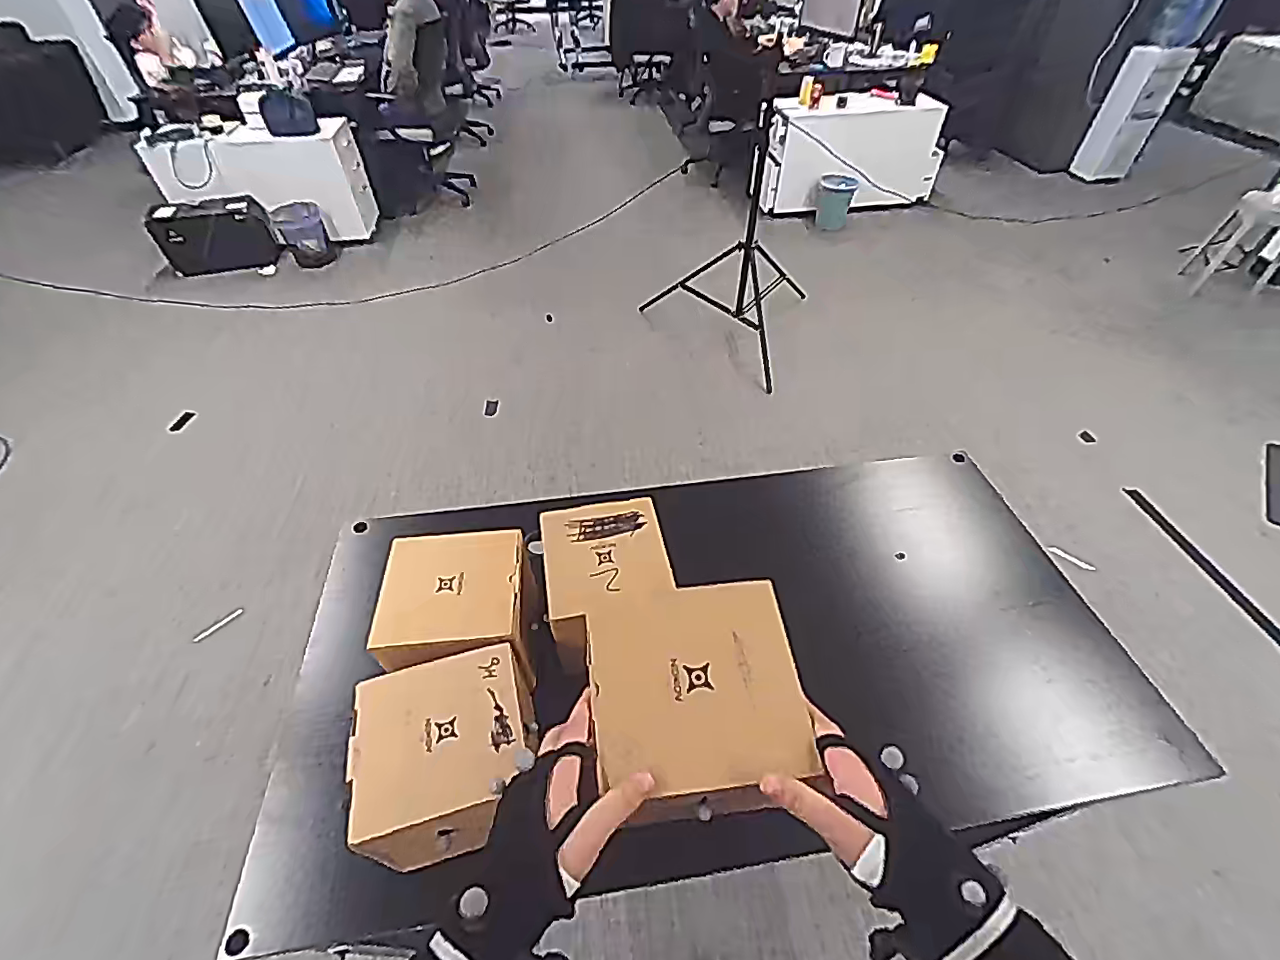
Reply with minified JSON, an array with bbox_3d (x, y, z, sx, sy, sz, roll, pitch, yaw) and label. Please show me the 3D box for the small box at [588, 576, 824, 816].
[{"bbox_3d":[0.047,0.211,0.519,0.179,0.176,0.168,-5,54,-5],"label":"small box"}]
